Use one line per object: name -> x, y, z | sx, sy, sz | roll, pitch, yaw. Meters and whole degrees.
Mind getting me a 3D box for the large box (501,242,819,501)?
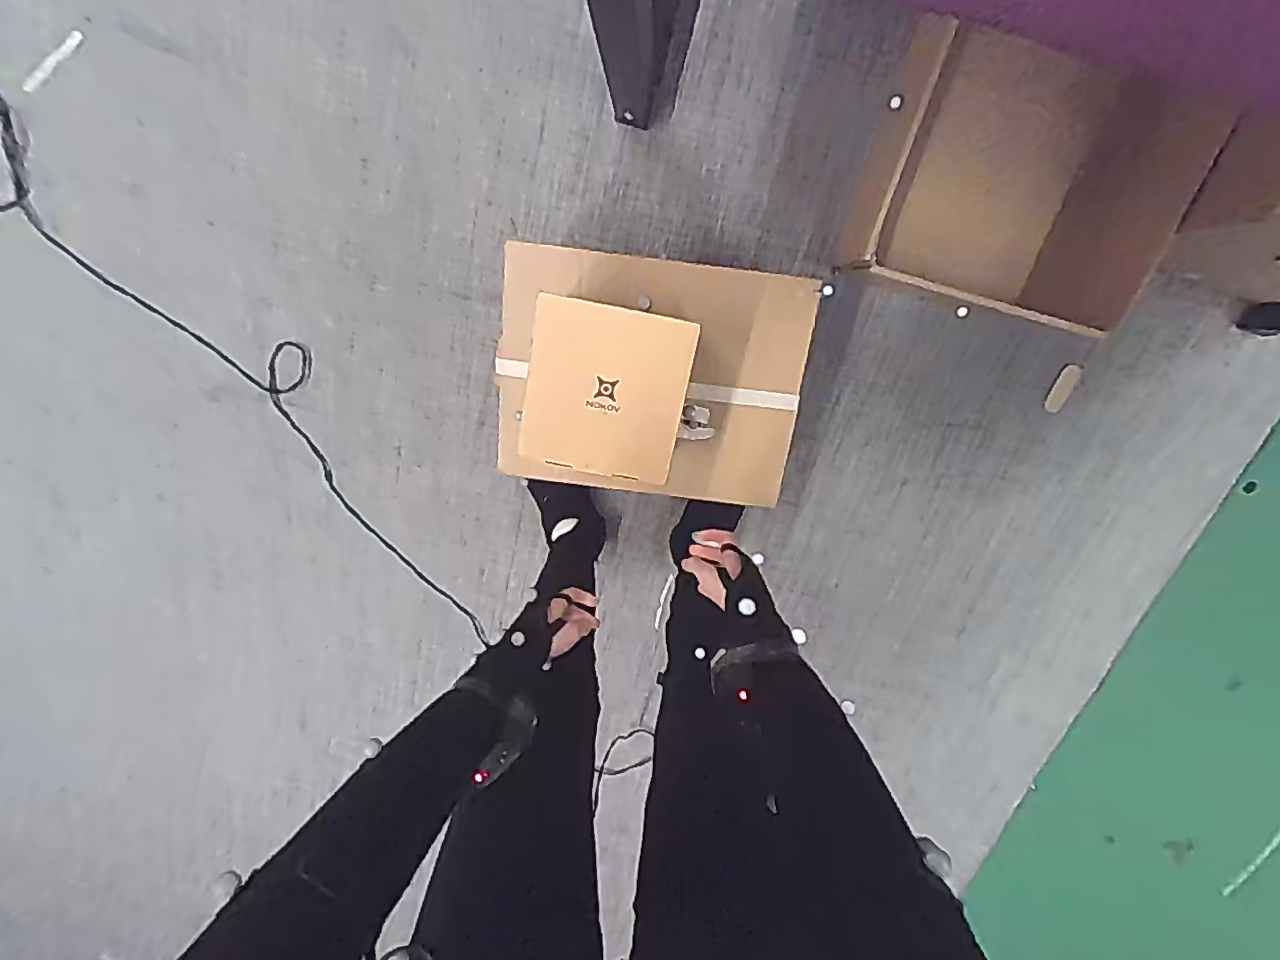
large box -> 0.014, -0.178, 0.863 | 0.408, 0.320, 0.320 | 7, 109, -1
